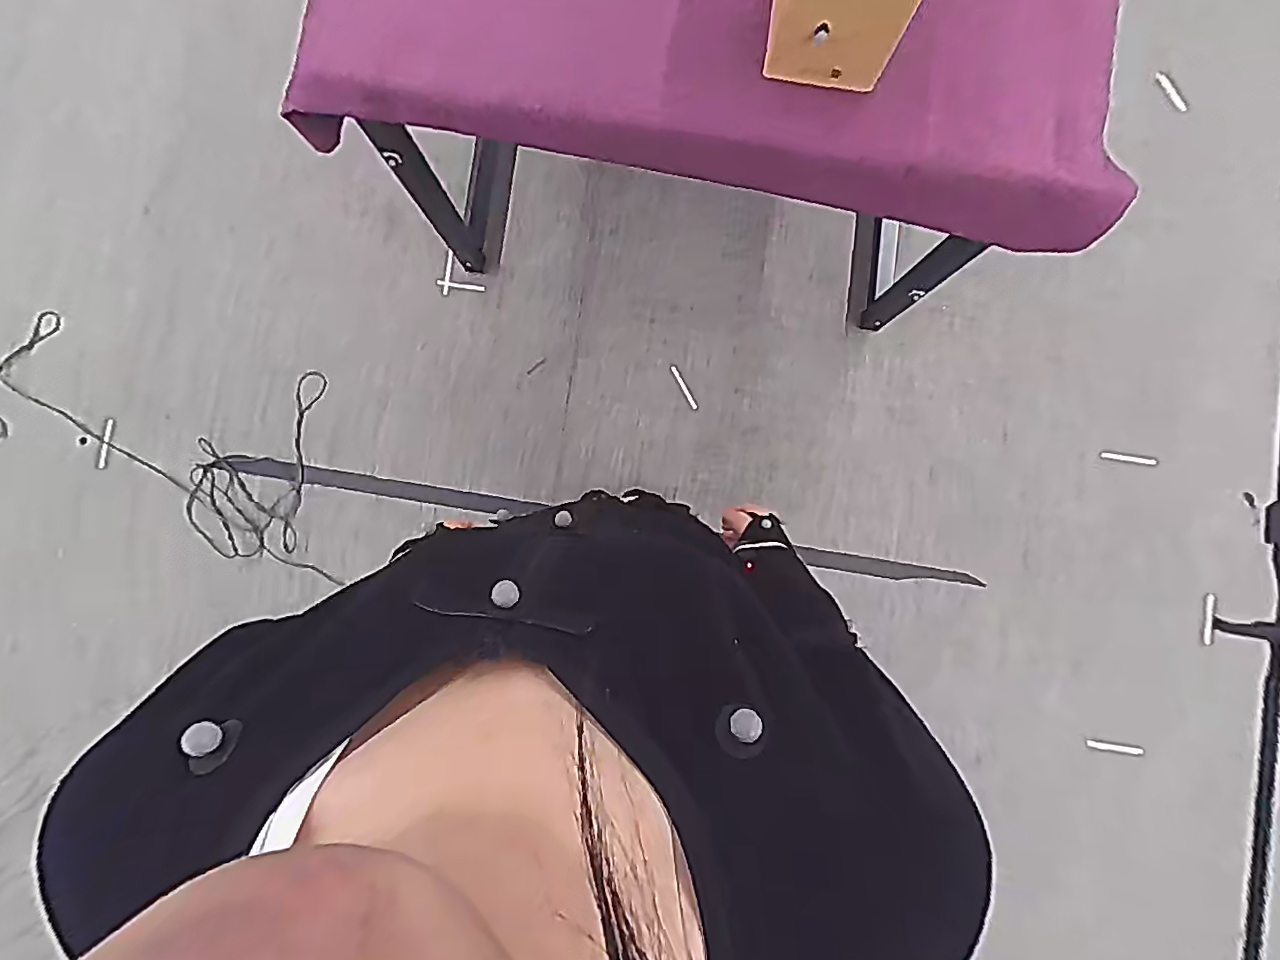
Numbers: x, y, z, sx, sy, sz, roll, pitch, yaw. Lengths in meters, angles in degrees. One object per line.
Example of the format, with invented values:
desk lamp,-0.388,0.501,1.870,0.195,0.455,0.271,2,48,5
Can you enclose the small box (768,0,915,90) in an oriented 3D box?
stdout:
small box,0.281,-0.684,0.743,0.168,0.176,0.179,9,86,0
